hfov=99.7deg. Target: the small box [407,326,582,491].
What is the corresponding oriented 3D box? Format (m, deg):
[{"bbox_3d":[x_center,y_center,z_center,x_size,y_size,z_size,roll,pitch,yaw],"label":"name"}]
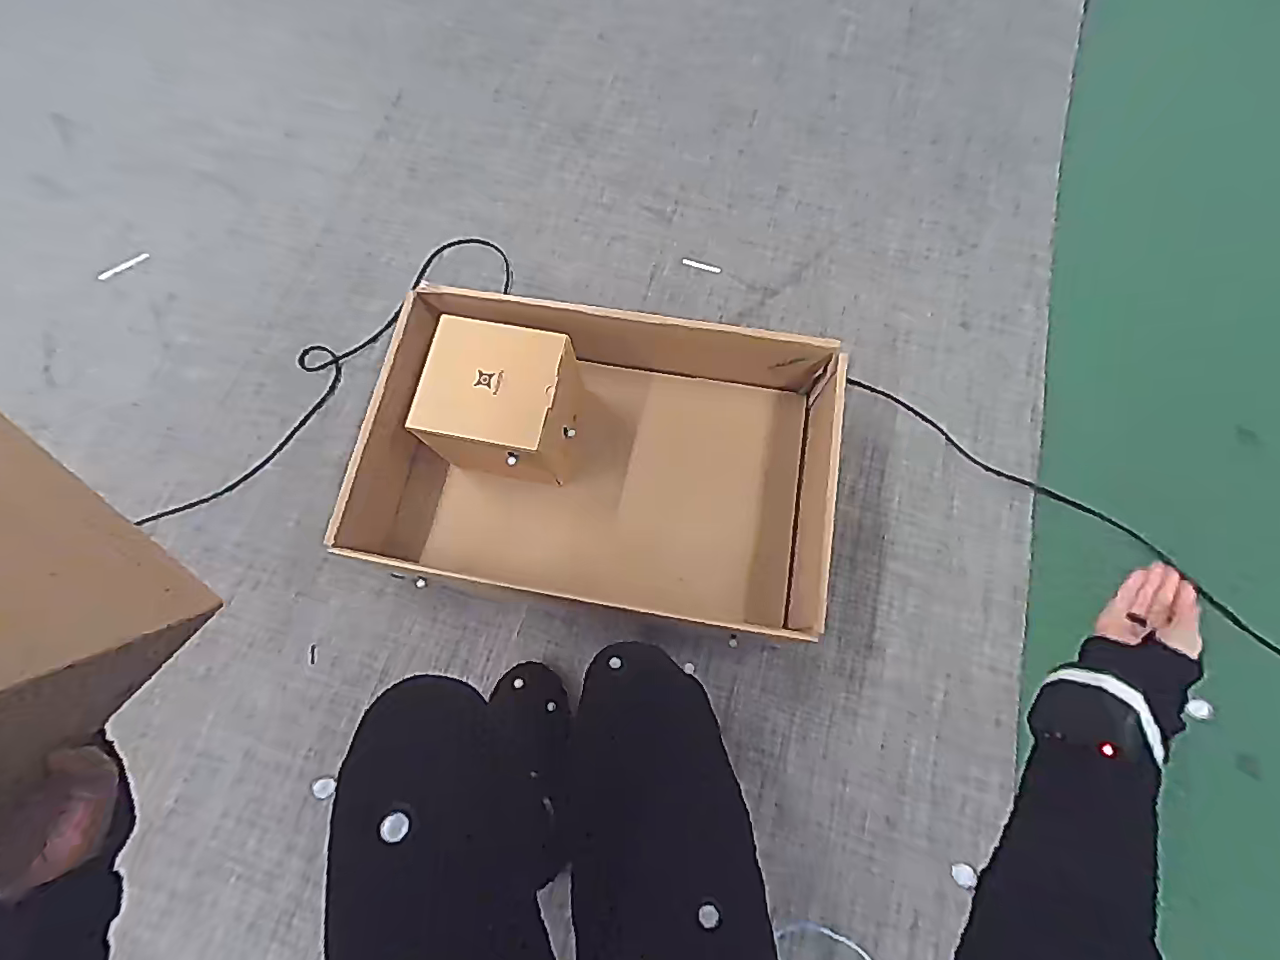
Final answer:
[{"bbox_3d":[-0.192,-0.093,0.770,0.179,0.176,0.168,10,74,4],"label":"small box"}]
